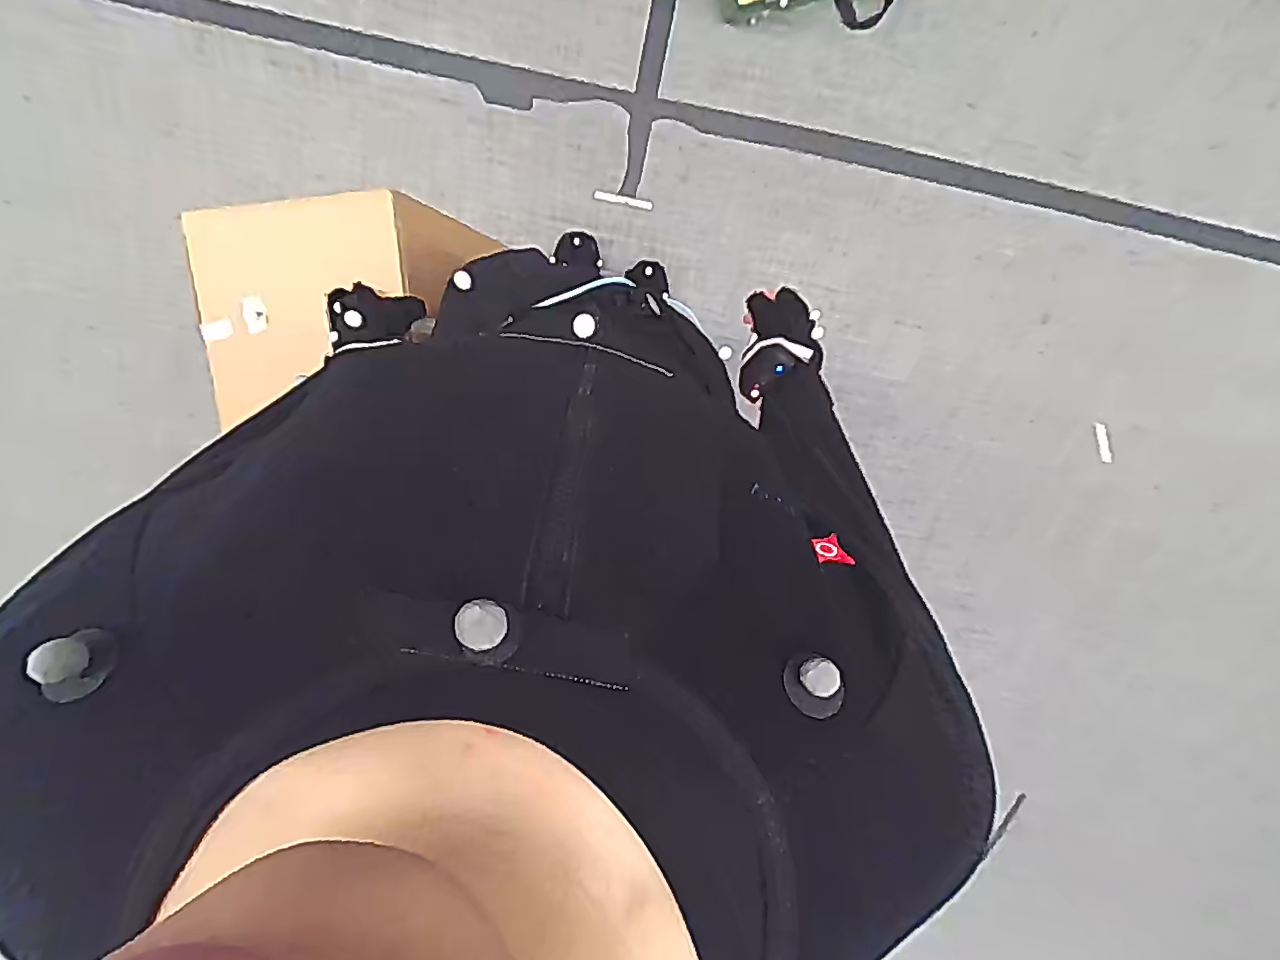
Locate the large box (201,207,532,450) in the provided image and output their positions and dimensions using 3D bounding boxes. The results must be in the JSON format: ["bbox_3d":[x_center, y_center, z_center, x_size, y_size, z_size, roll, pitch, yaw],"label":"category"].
[{"bbox_3d":[-0.403,-0.235,0.907,0.320,0.408,0.320,3,102,9],"label":"large box"}]
